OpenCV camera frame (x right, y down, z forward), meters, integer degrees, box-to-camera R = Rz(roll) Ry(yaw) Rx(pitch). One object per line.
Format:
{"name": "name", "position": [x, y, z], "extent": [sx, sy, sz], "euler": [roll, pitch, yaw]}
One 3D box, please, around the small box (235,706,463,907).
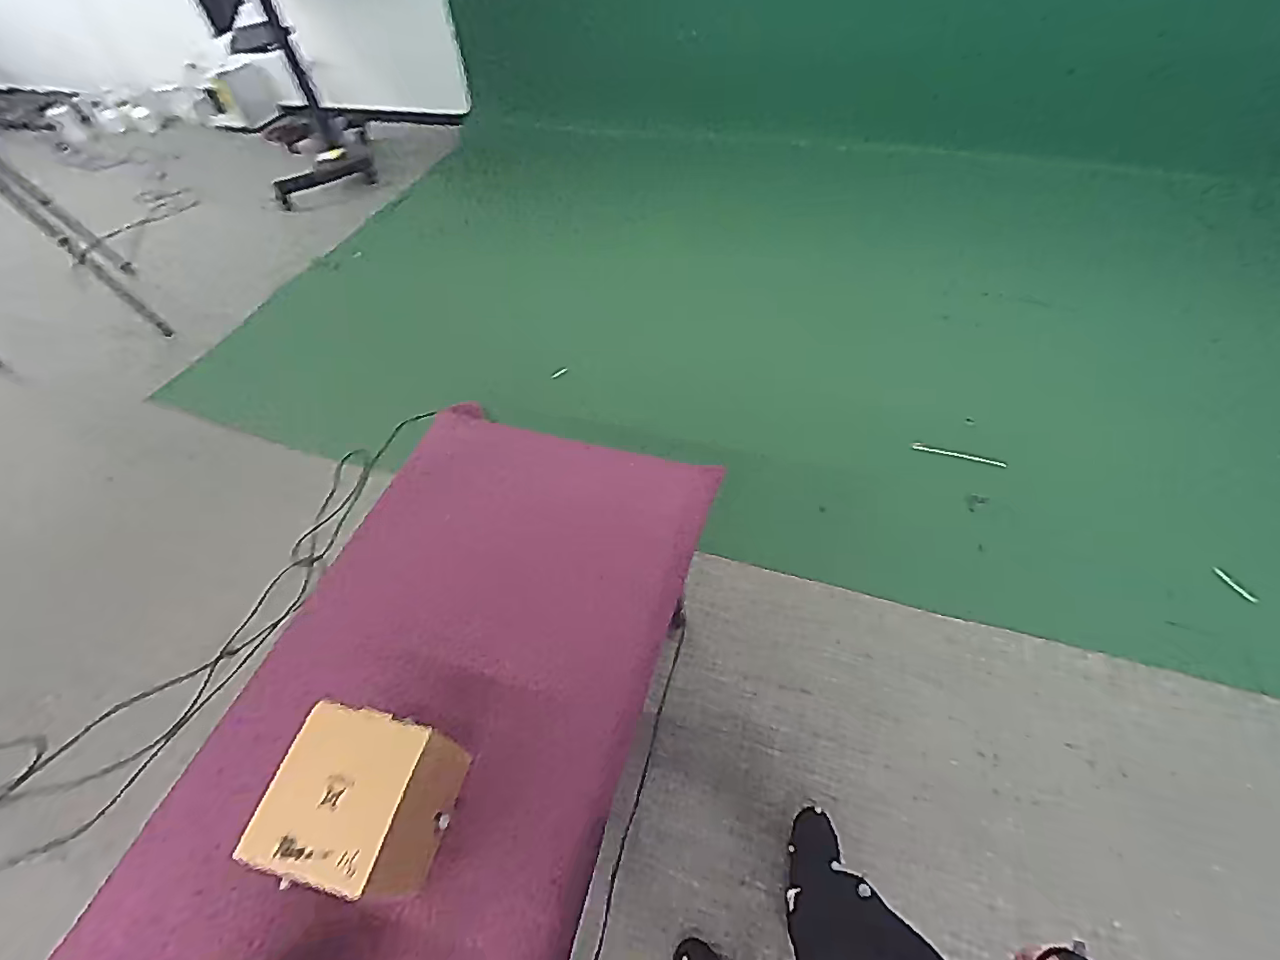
{"name": "small box", "position": [-0.351, 0.422, 0.699], "extent": [0.168, 0.176, 0.179], "euler": [9, 53, 12]}
